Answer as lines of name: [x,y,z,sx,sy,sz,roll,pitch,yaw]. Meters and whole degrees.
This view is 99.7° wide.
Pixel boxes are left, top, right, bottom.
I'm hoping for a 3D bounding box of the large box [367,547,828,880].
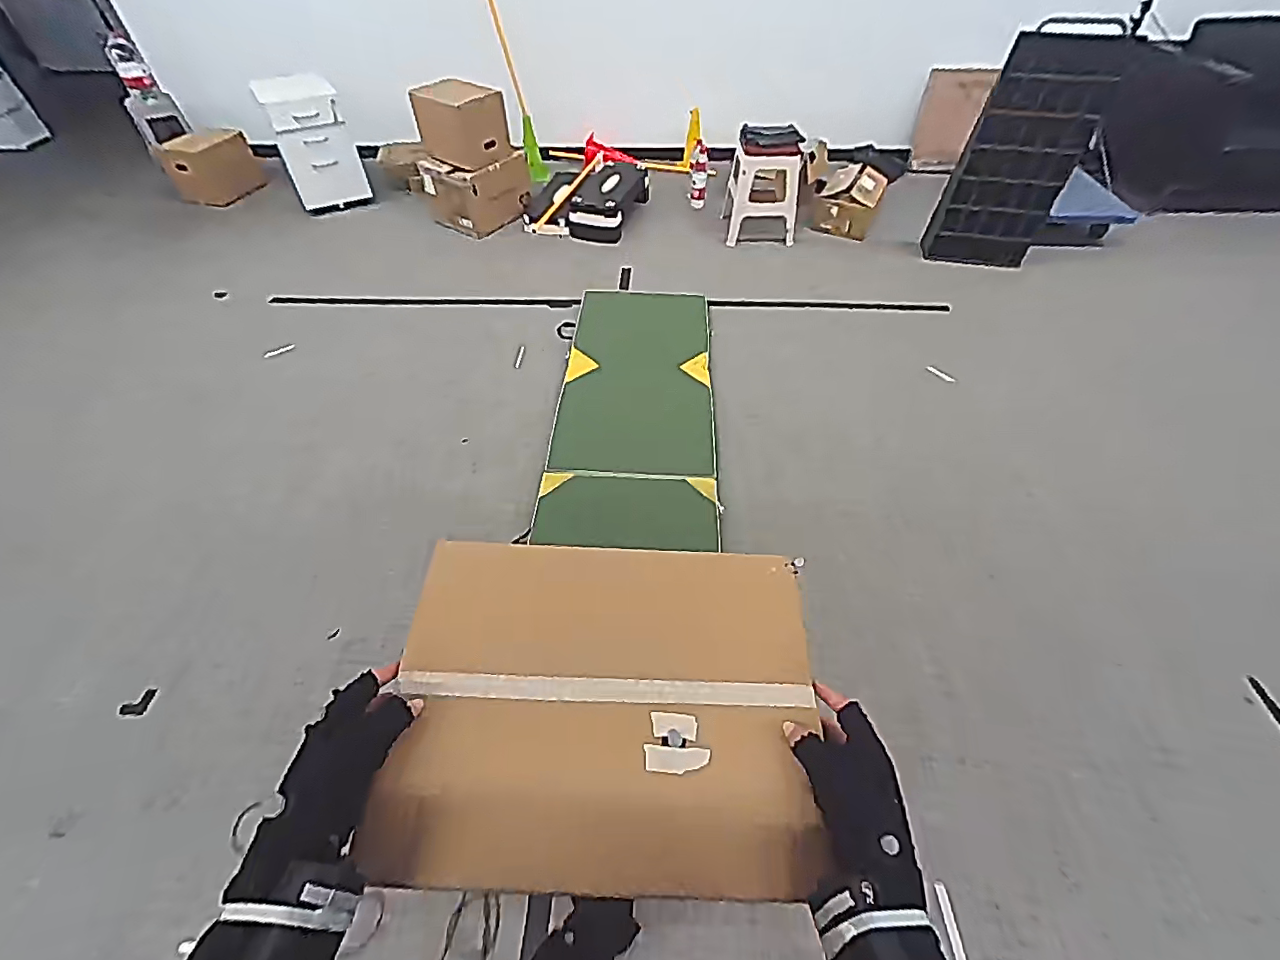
large box: [-0.040,0.297,0.666,0.408,0.320,0.320,2,53,-1]
